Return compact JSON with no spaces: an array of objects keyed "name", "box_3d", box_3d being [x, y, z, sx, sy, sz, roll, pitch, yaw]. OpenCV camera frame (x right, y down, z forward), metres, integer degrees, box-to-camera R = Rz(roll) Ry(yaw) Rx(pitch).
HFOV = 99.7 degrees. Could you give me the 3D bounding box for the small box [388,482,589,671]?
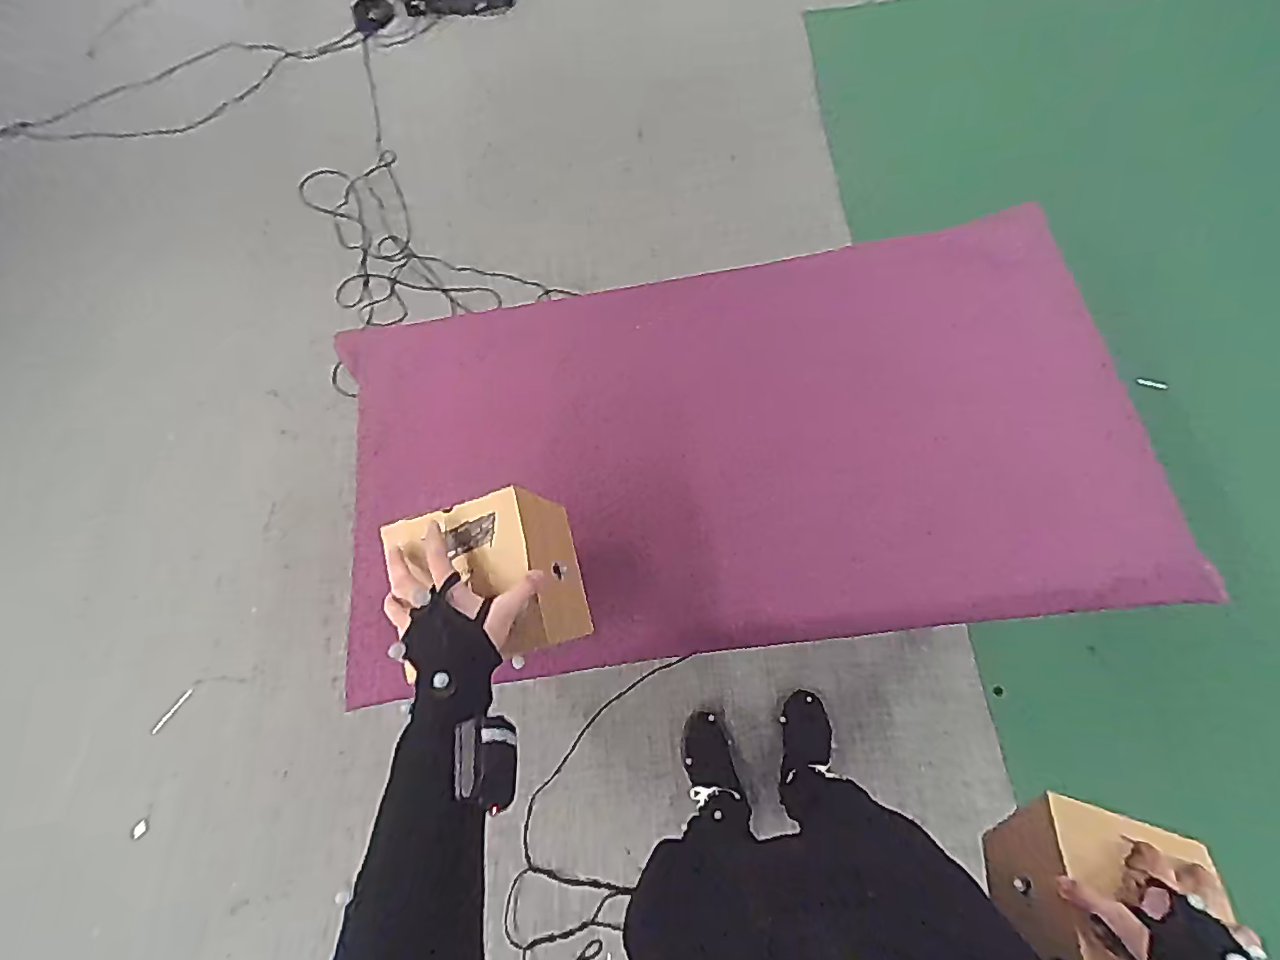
[{"name":"small box","box_3d":[-0.176,0.119,0.666,0.168,0.176,0.179,-17,77,8]}]
